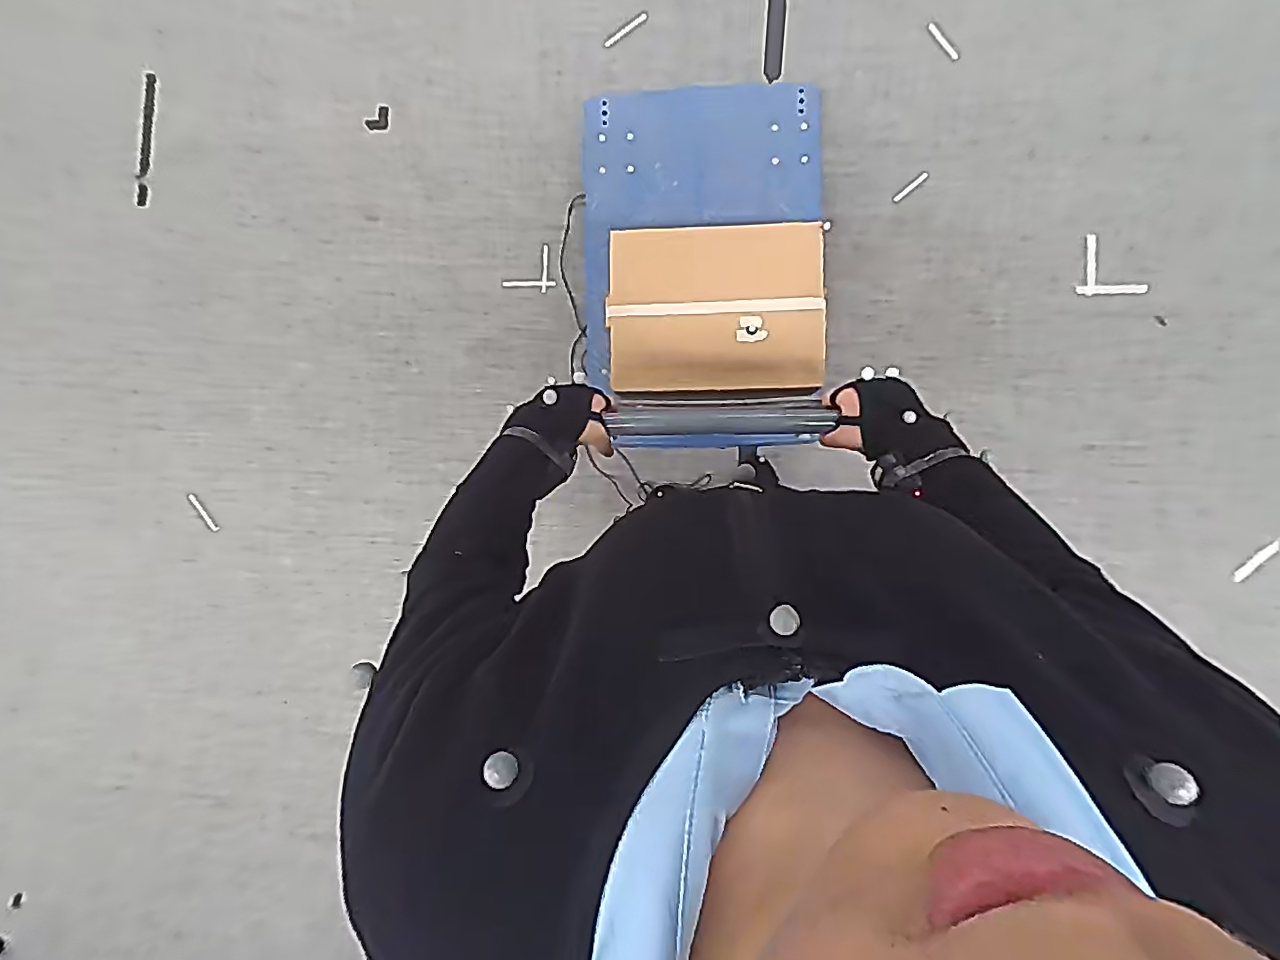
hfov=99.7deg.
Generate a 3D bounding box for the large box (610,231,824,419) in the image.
[{"bbox_3d":[0.152,-0.308,1.172,0.408,0.320,0.320,-1,90,4],"label":"large box"}]
